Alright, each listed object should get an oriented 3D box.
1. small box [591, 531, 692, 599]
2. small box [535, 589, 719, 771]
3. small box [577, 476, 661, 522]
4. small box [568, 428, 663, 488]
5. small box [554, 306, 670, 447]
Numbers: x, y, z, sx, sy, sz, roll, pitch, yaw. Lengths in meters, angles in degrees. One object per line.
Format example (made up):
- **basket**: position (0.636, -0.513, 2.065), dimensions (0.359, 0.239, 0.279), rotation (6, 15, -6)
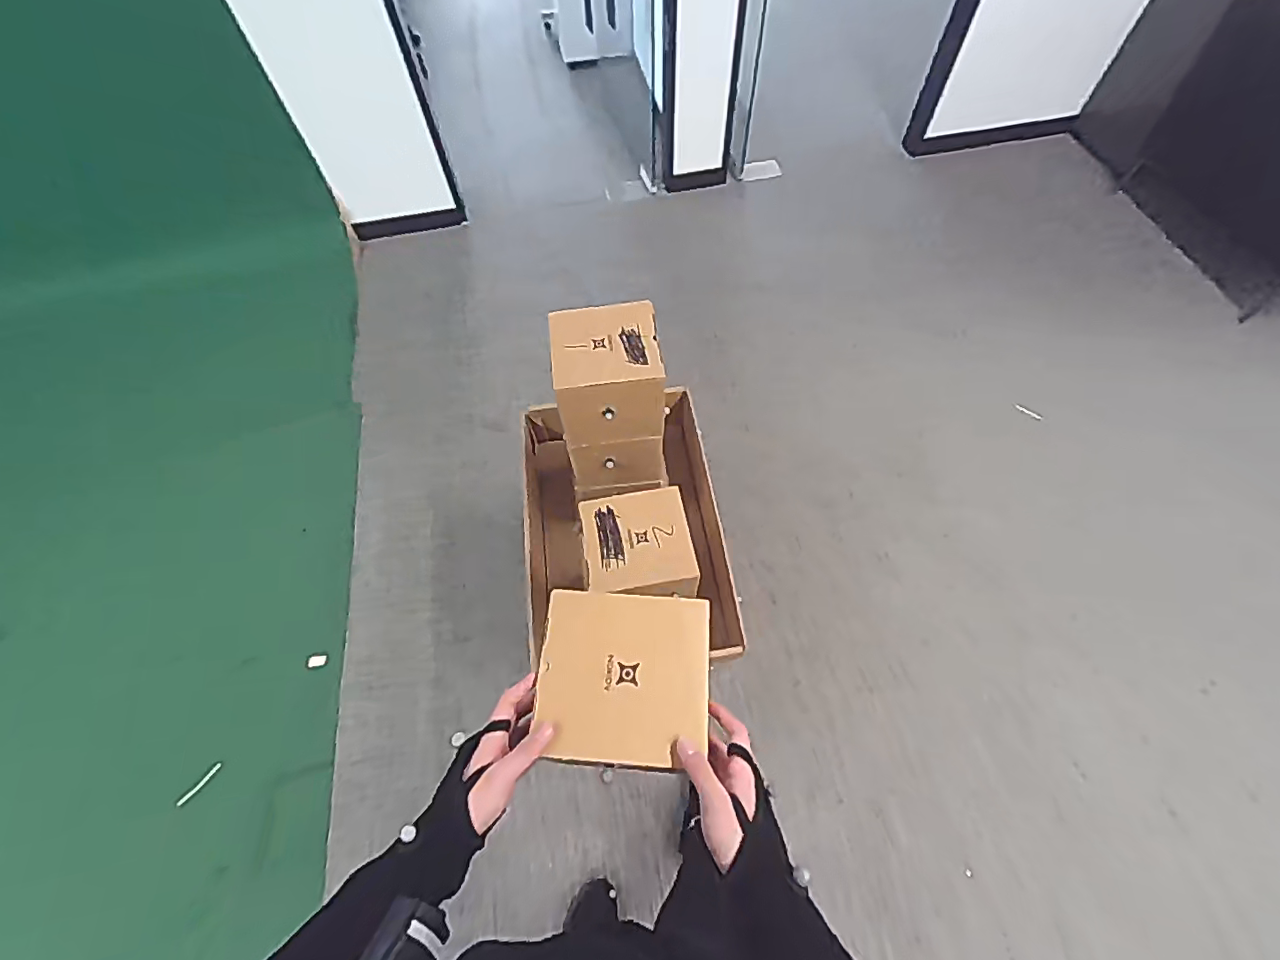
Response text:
- **small box**: position (0.000, 0.220, 1.085), dimensions (0.179, 0.176, 0.168), rotation (-8, 60, -4)
- **small box**: position (-0.008, 0.234, 0.619), dimensions (0.179, 0.176, 0.168), rotation (3, 61, 3)
- **small box**: position (-0.047, -0.013, 1.221), dimensions (0.179, 0.176, 0.168), rotation (-4, 62, -3)
- **small box**: position (-0.048, -0.094, 1.078), dimensions (0.179, 0.176, 0.168), rotation (-6, 63, -2)
- **small box**: position (-0.048, -0.173, 0.933), dimensions (0.179, 0.176, 0.168), rotation (-7, 62, -2)
